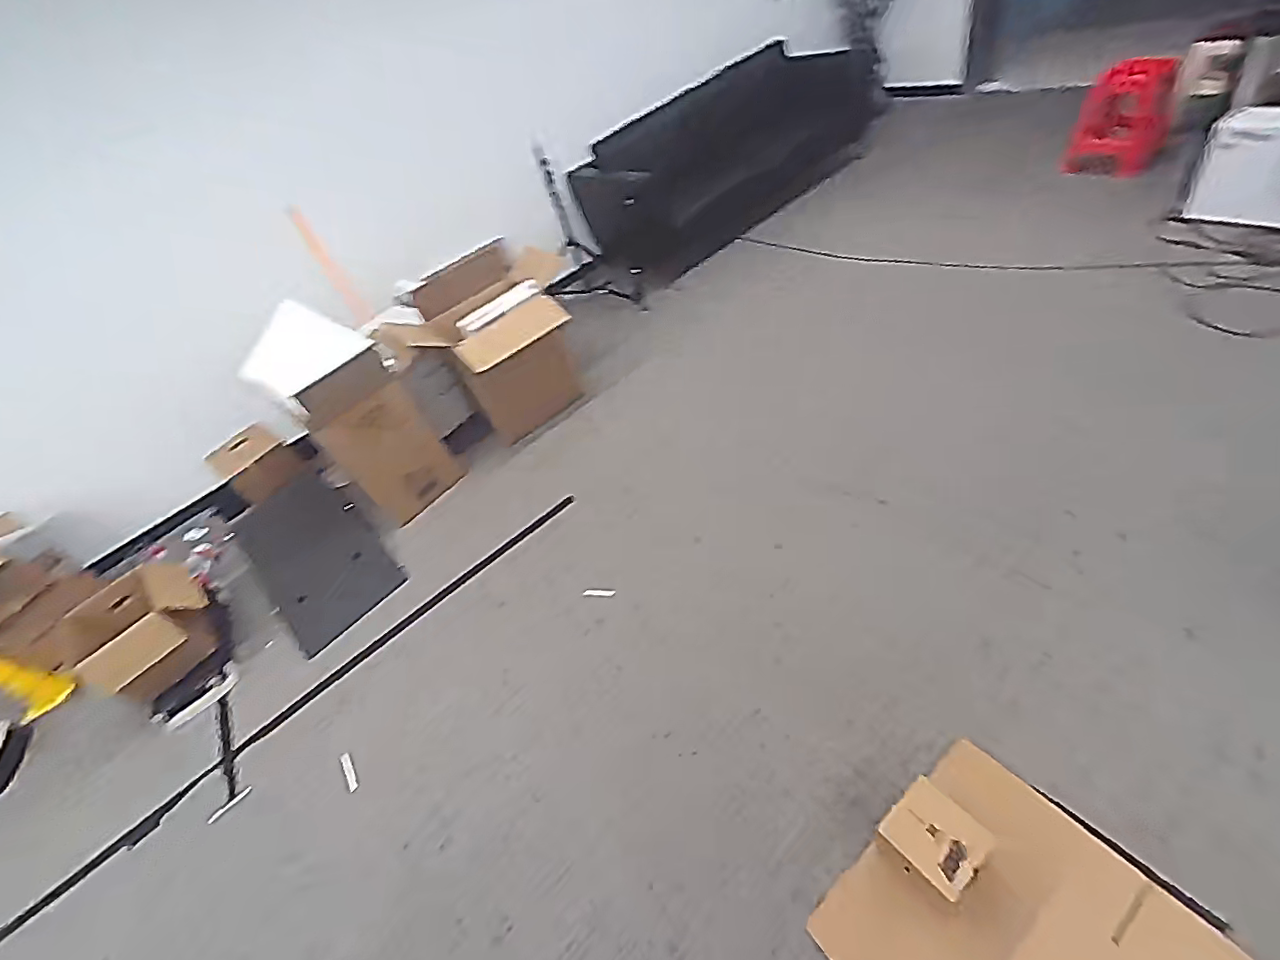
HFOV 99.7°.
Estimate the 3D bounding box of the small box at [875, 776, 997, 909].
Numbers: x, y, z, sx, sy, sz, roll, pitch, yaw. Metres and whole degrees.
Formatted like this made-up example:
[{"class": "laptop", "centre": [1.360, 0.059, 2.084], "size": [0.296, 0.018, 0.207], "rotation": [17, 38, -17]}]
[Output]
[{"class": "small box", "centre": [0.649, 0.810, 1.203], "size": [0.168, 0.176, 0.179], "rotation": [-37, 44, -16]}]
